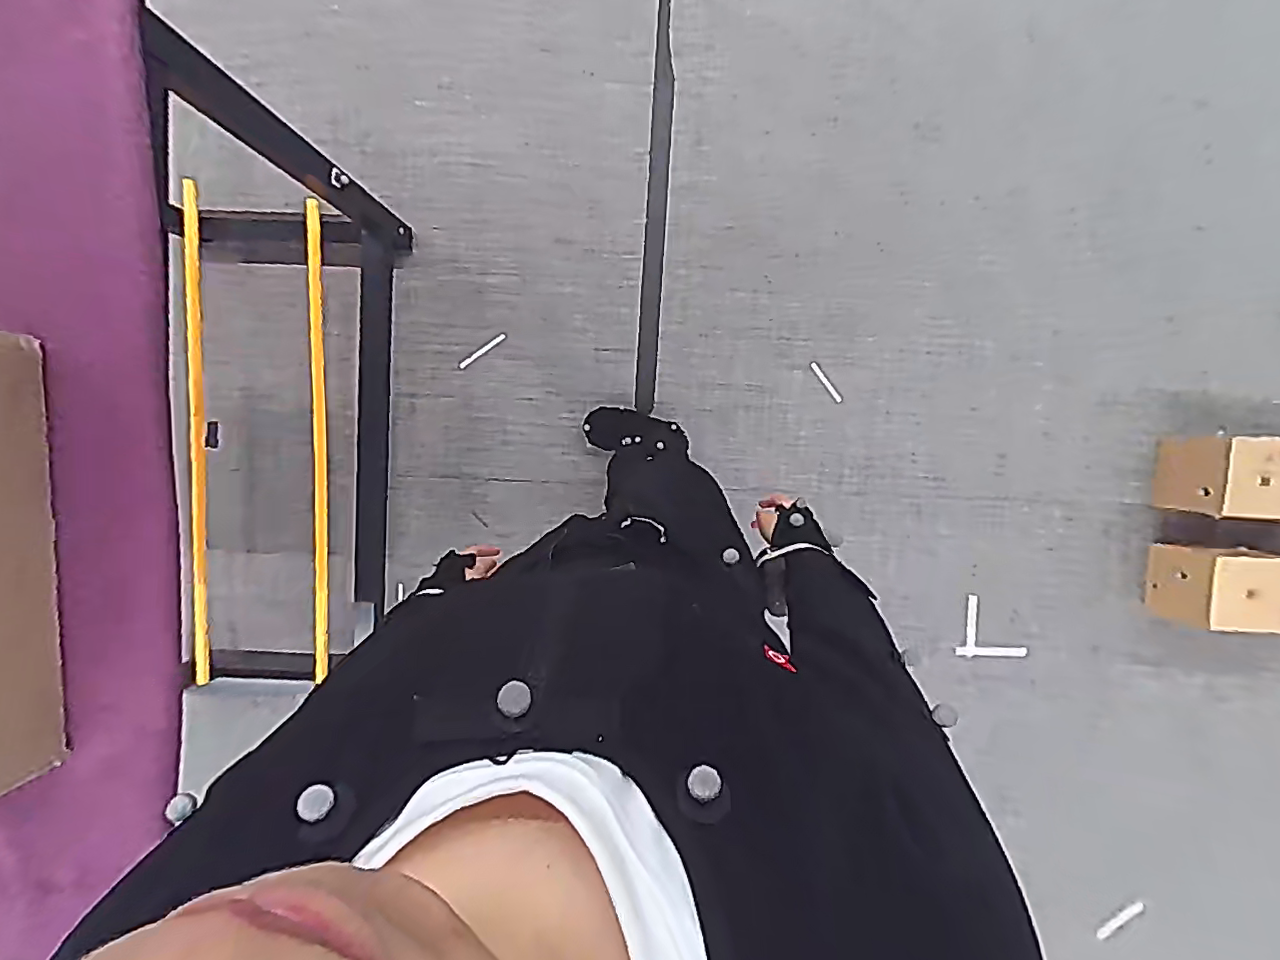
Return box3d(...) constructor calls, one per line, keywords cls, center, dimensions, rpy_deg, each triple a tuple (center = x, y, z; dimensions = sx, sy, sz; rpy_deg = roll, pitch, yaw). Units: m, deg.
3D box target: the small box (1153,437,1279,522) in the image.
box3d(cls="small box", center=(1.334, -0.005, 1.235), dimensions=(0.168, 0.176, 0.179), rpy_deg=(3, 94, 2))
